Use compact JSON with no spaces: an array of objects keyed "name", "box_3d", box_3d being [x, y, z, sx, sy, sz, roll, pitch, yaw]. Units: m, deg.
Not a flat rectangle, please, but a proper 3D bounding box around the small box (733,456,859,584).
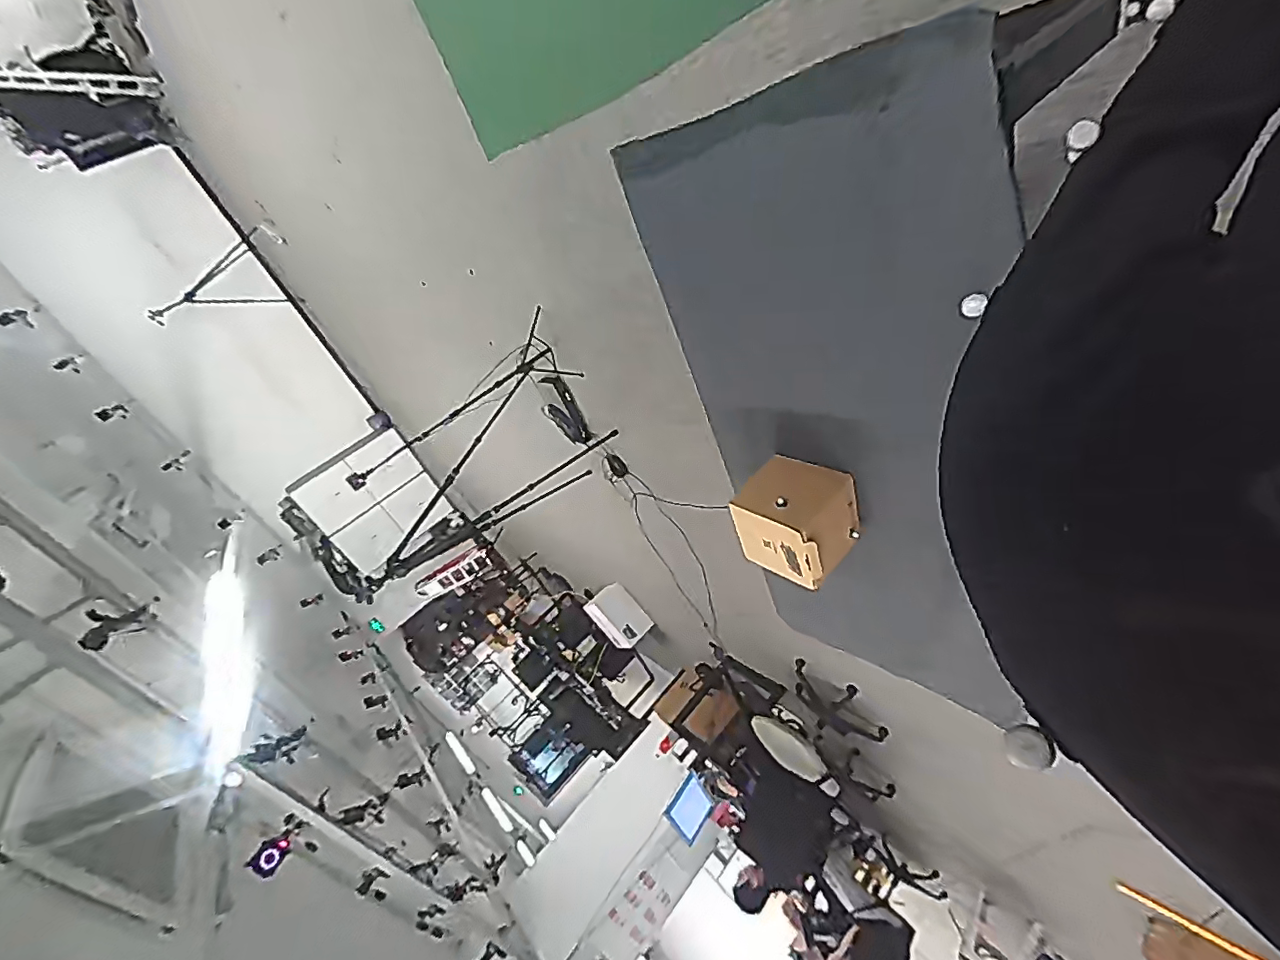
[{"name":"small box","box_3d":[0.322,0.072,1.090,0.179,0.176,0.168,22,145,46]}]
